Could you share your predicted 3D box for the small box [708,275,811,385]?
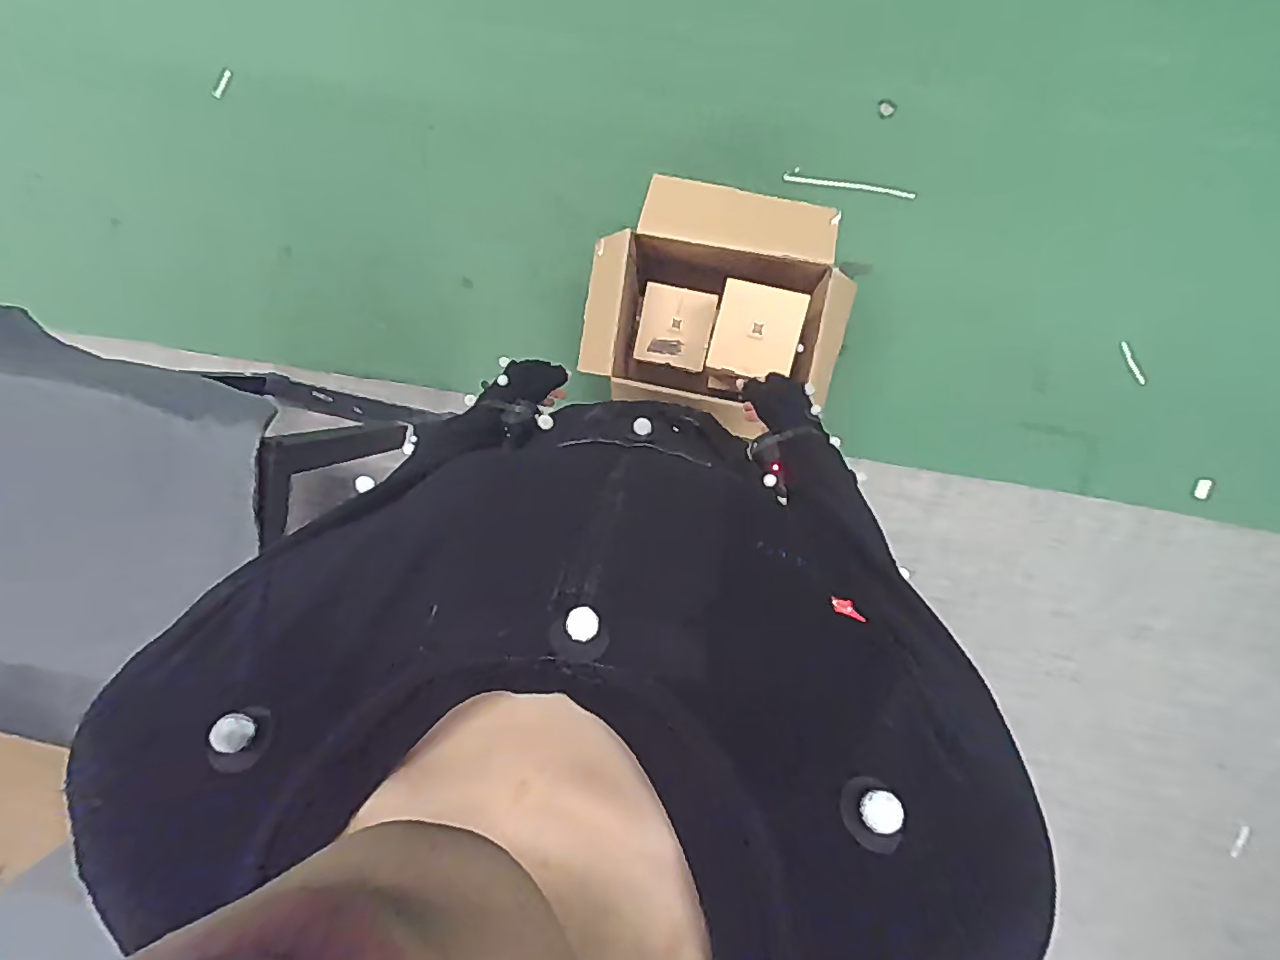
[{"bbox_3d":[0.242,-0.305,1.135,0.168,0.176,0.179,14,99,6],"label":"small box"}]
